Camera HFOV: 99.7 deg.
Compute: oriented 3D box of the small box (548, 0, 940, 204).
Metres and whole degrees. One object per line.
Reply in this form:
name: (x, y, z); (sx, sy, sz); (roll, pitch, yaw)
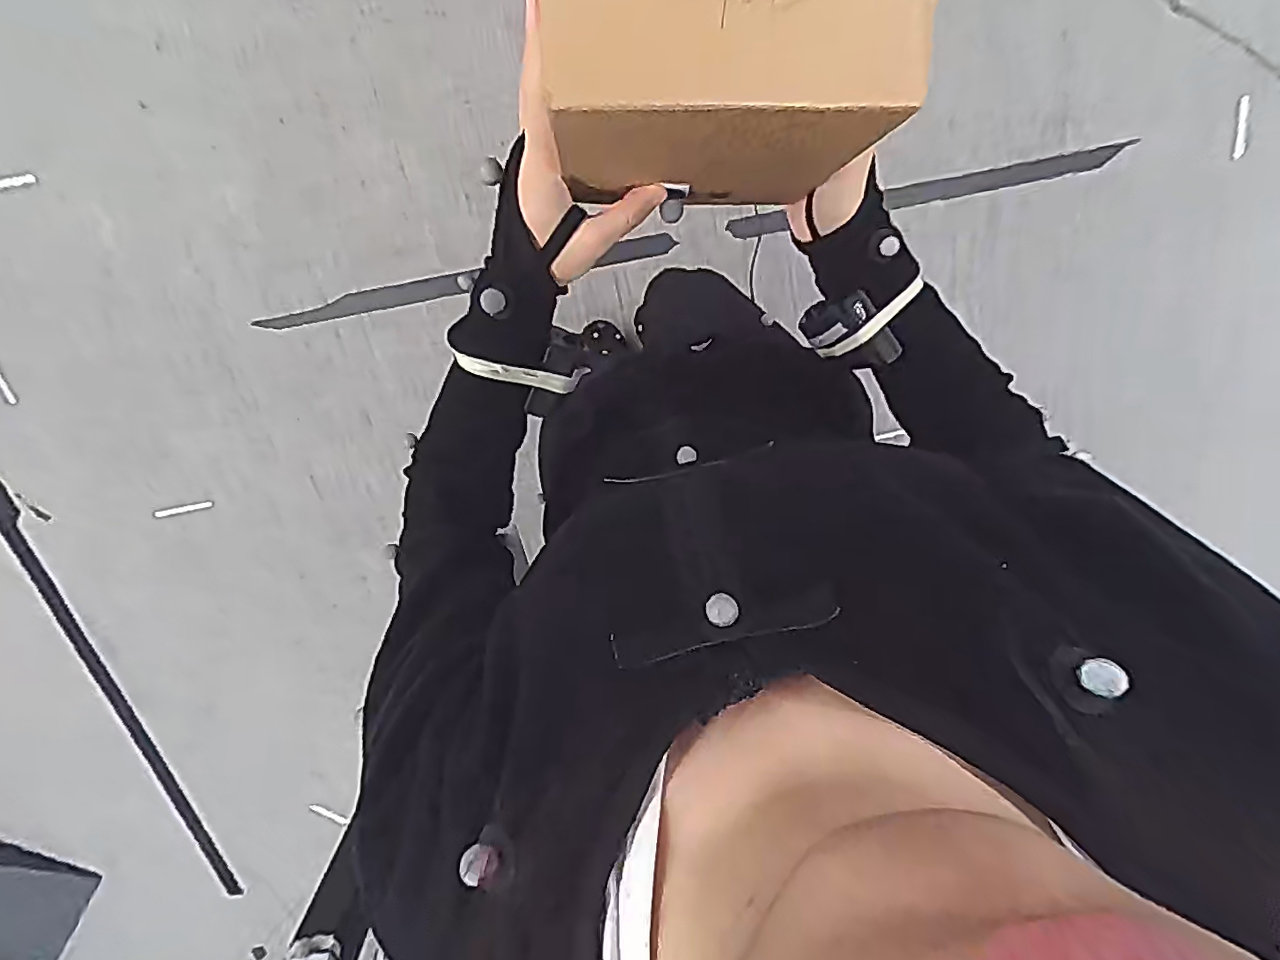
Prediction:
small box: (0.037, -0.264, 0.288); (0.168, 0.176, 0.179); (-3, 104, -3)
